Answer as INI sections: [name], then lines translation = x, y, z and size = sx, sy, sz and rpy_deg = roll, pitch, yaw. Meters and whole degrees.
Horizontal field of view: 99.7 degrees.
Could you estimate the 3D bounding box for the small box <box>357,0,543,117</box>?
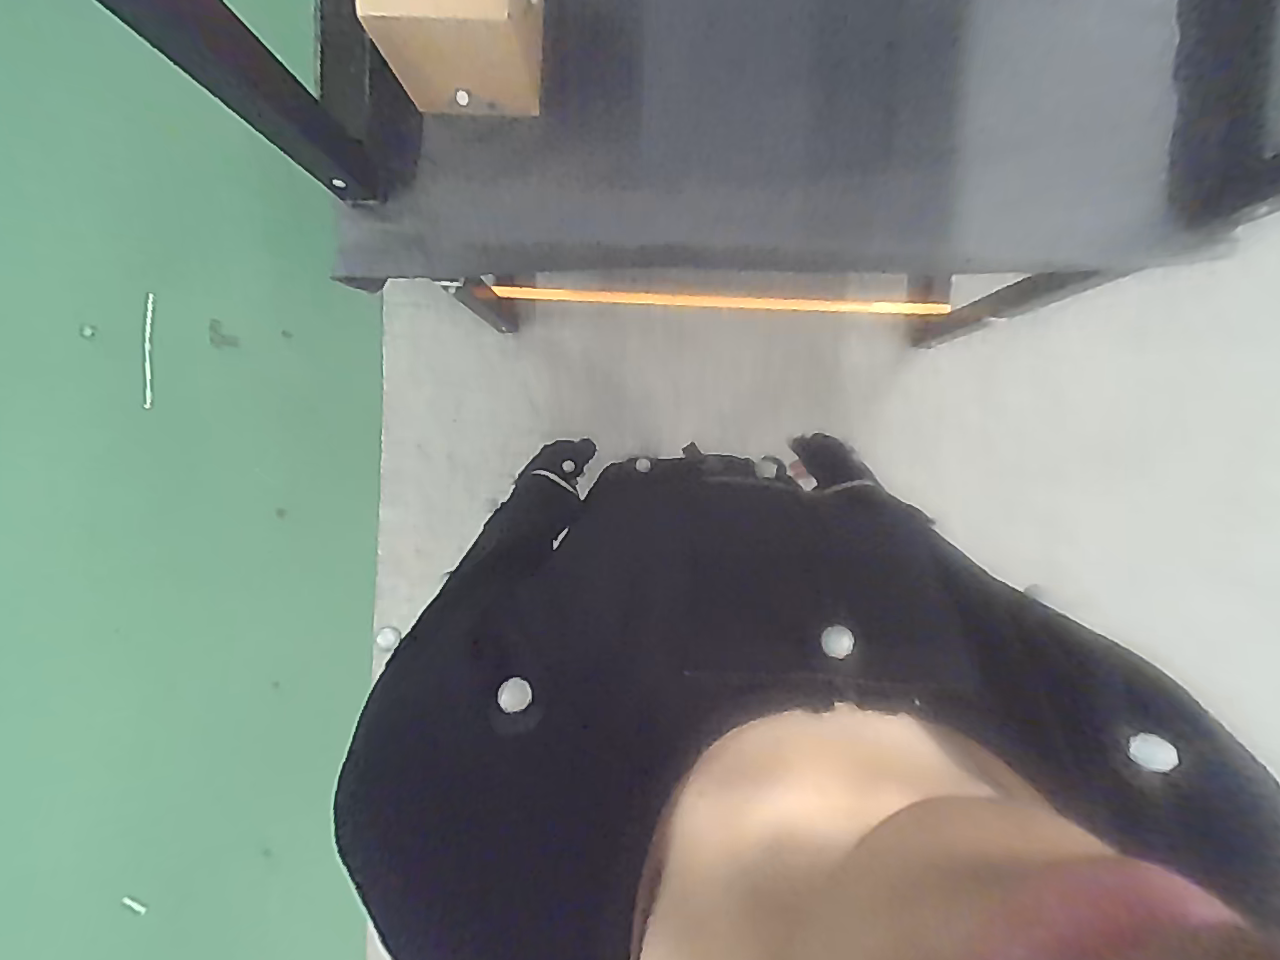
[small box]
translation = -0.216, -0.583, 0.652
size = 0.168, 0.176, 0.179
rpy_deg = 2, 93, 1
